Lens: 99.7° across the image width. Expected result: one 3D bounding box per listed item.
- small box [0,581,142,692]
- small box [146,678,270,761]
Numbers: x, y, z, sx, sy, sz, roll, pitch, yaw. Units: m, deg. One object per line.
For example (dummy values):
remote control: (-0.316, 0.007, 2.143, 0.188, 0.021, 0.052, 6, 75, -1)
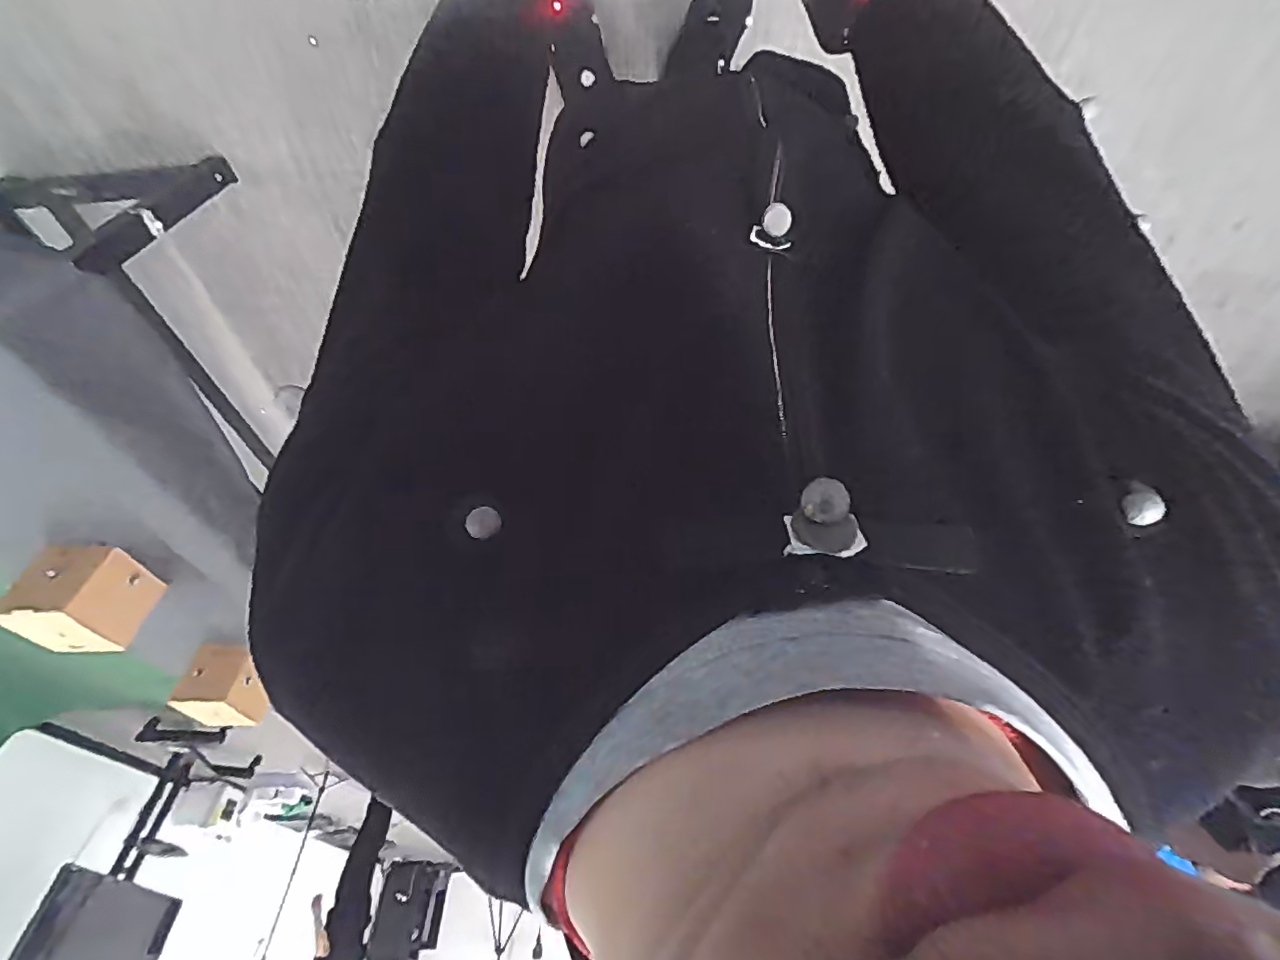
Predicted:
small box: (-1.224, 0.323, 1.133, 0.168, 0.176, 0.179, -3, 136, 0)
small box: (-1.171, 0.652, 1.481, 0.168, 0.176, 0.179, -3, 137, 3)
